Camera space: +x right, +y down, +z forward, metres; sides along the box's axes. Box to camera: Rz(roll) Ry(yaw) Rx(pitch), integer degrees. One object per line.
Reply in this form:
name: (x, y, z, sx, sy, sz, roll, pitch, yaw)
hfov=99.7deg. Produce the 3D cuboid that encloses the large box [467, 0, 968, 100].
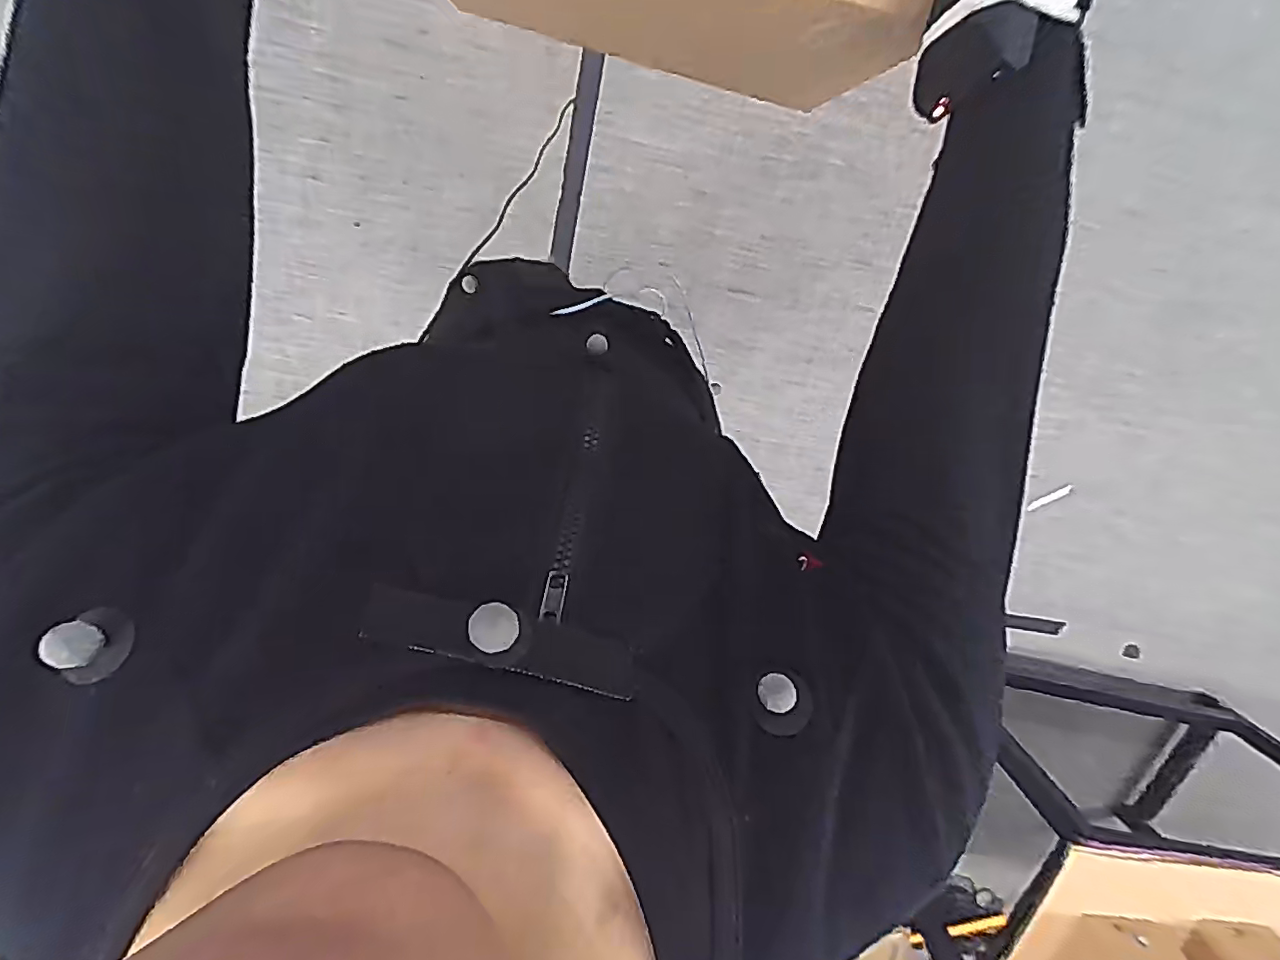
large box: (0.044, -0.536, 0.399, 0.408, 0.320, 0.320, 11, 116, -8)
